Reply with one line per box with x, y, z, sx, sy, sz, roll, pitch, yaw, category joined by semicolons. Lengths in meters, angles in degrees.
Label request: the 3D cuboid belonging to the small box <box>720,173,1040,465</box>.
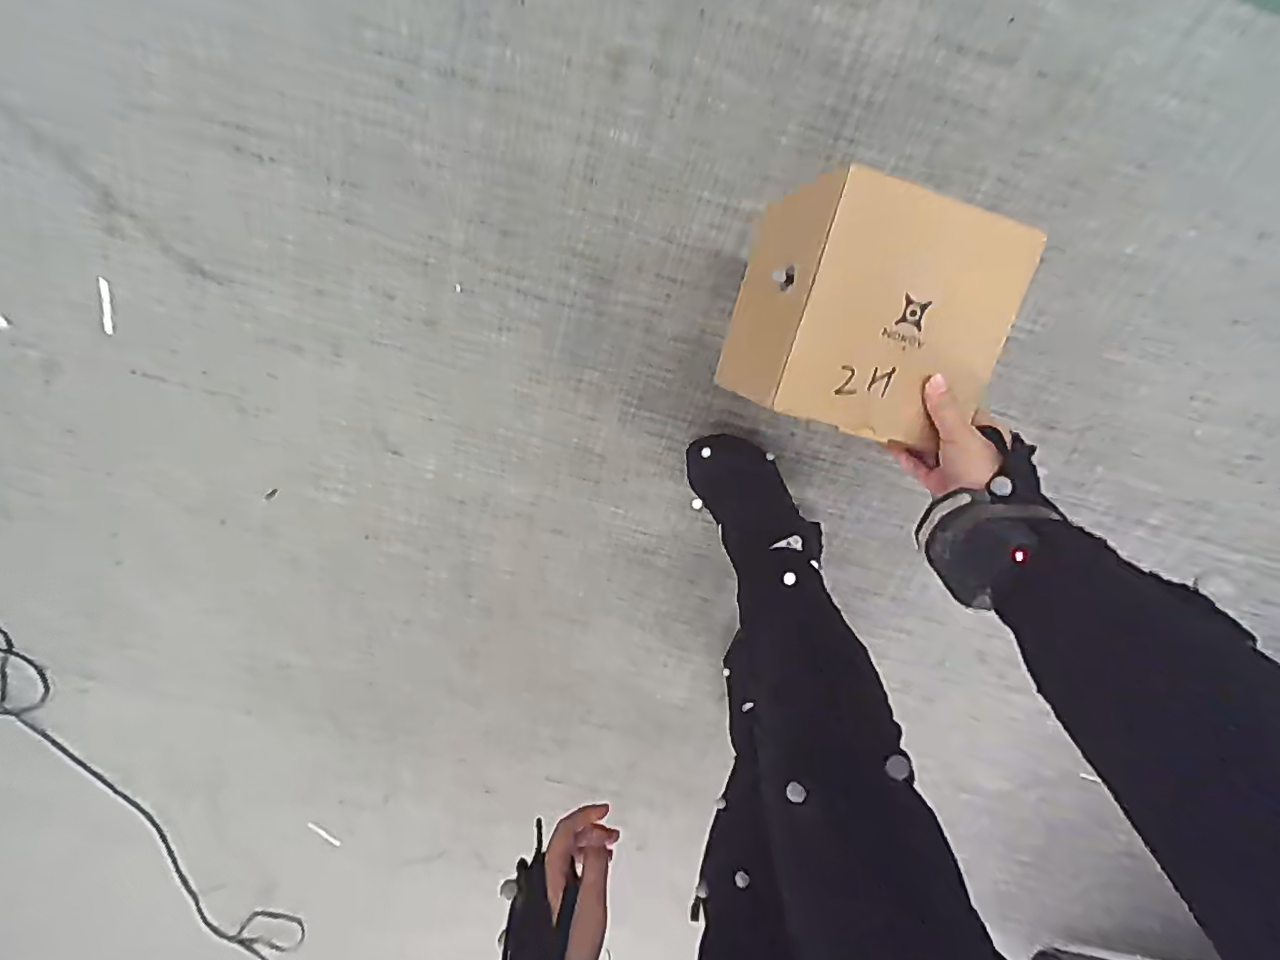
0.185;-0.133;0.476;0.168;0.176;0.179;13;105;-11;small box
